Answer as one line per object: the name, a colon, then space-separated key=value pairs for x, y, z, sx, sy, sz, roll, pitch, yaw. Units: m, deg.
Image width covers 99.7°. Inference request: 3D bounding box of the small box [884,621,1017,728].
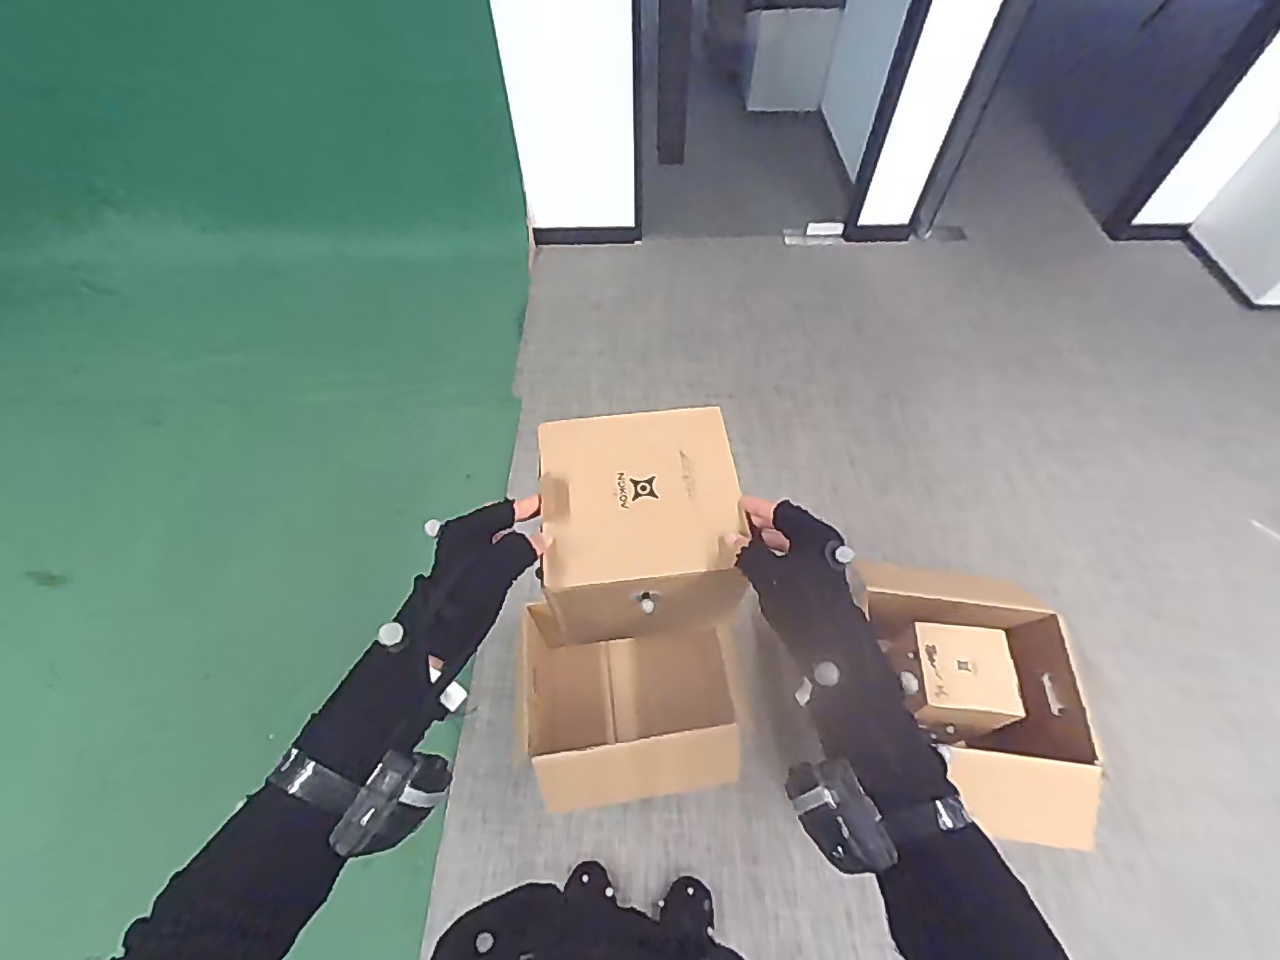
small box: x=0.637 y=0.412 z=1.133 sx=0.179 sy=0.176 sz=0.168 roll=4 pitch=55 yaw=5
